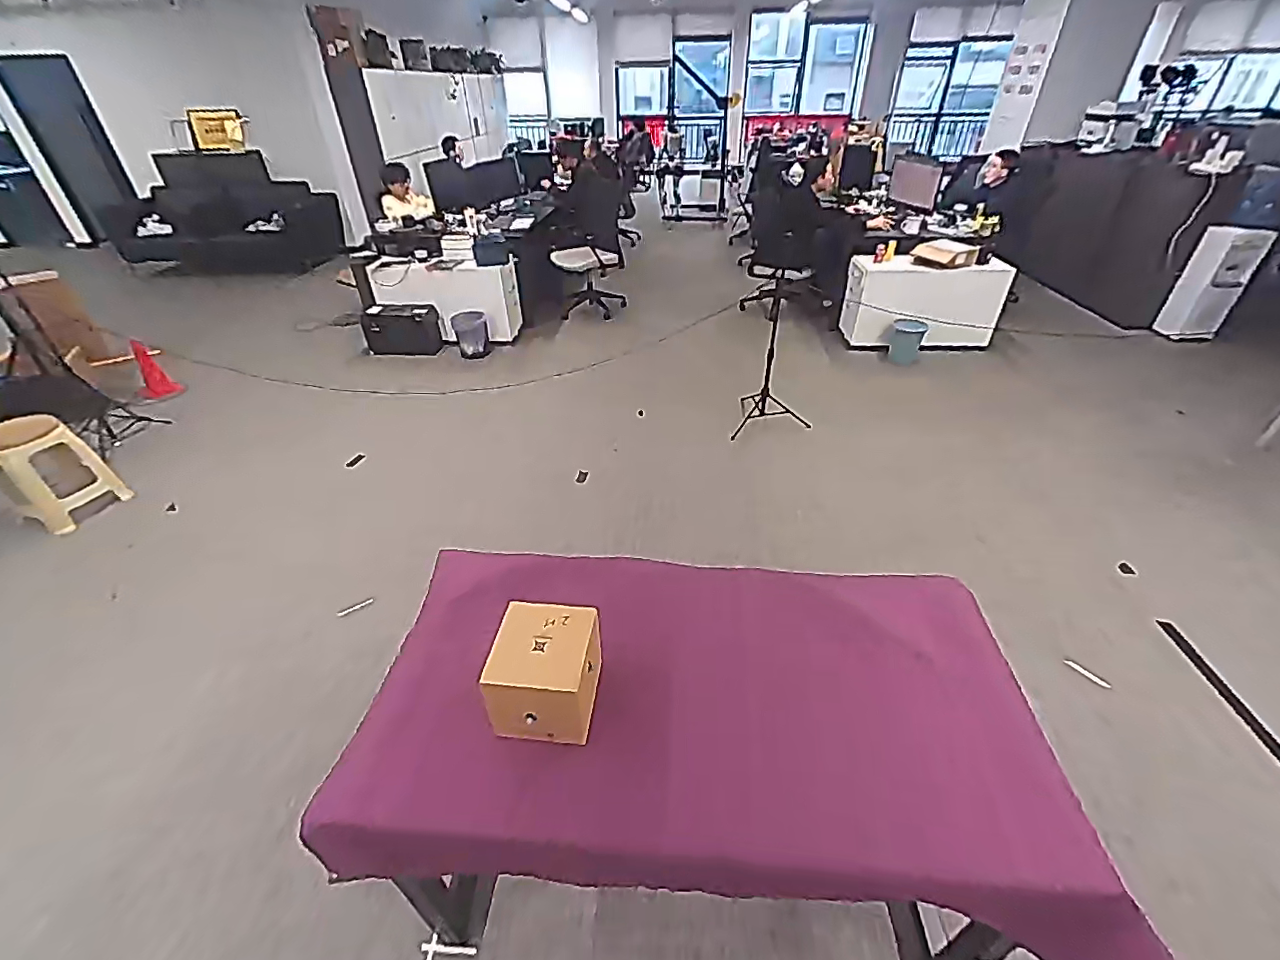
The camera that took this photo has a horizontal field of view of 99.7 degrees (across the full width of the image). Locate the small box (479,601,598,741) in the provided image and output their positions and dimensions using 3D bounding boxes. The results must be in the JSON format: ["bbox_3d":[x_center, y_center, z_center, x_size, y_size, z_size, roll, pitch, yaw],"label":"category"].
[{"bbox_3d":[-0.171,0.348,0.984,0.168,0.176,0.179,4,36,6],"label":"small box"}]
